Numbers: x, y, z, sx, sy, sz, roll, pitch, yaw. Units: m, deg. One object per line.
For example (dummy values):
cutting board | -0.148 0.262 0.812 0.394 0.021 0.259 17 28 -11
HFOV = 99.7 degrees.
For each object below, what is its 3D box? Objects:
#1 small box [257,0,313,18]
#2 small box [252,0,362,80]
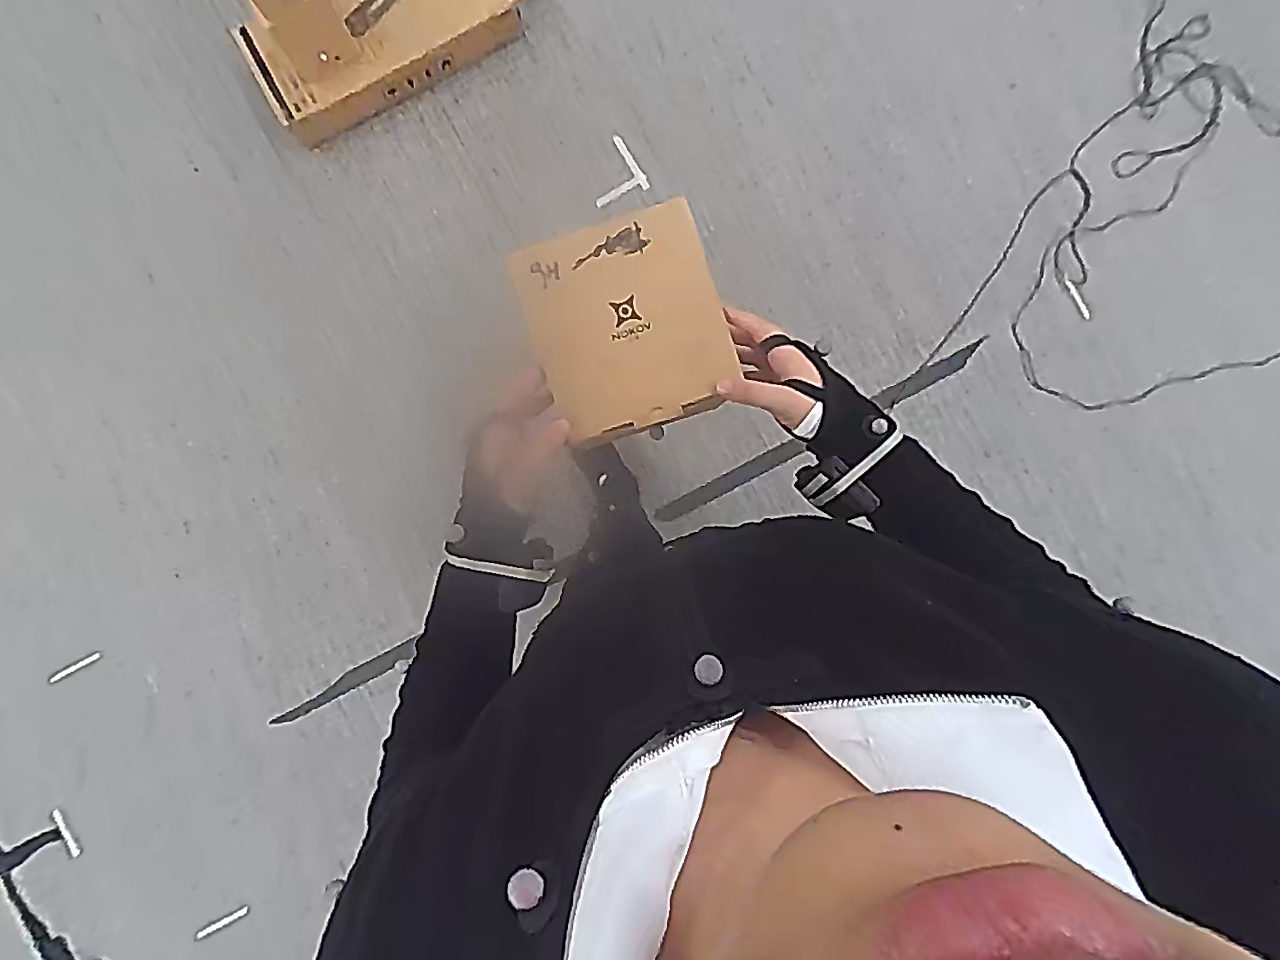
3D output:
small box | -0.825 -1.181 1.178 0.168 0.176 0.179 -28 88 -1
small box | -0.837 -1.160 1.342 0.168 0.176 0.179 -30 89 -1
